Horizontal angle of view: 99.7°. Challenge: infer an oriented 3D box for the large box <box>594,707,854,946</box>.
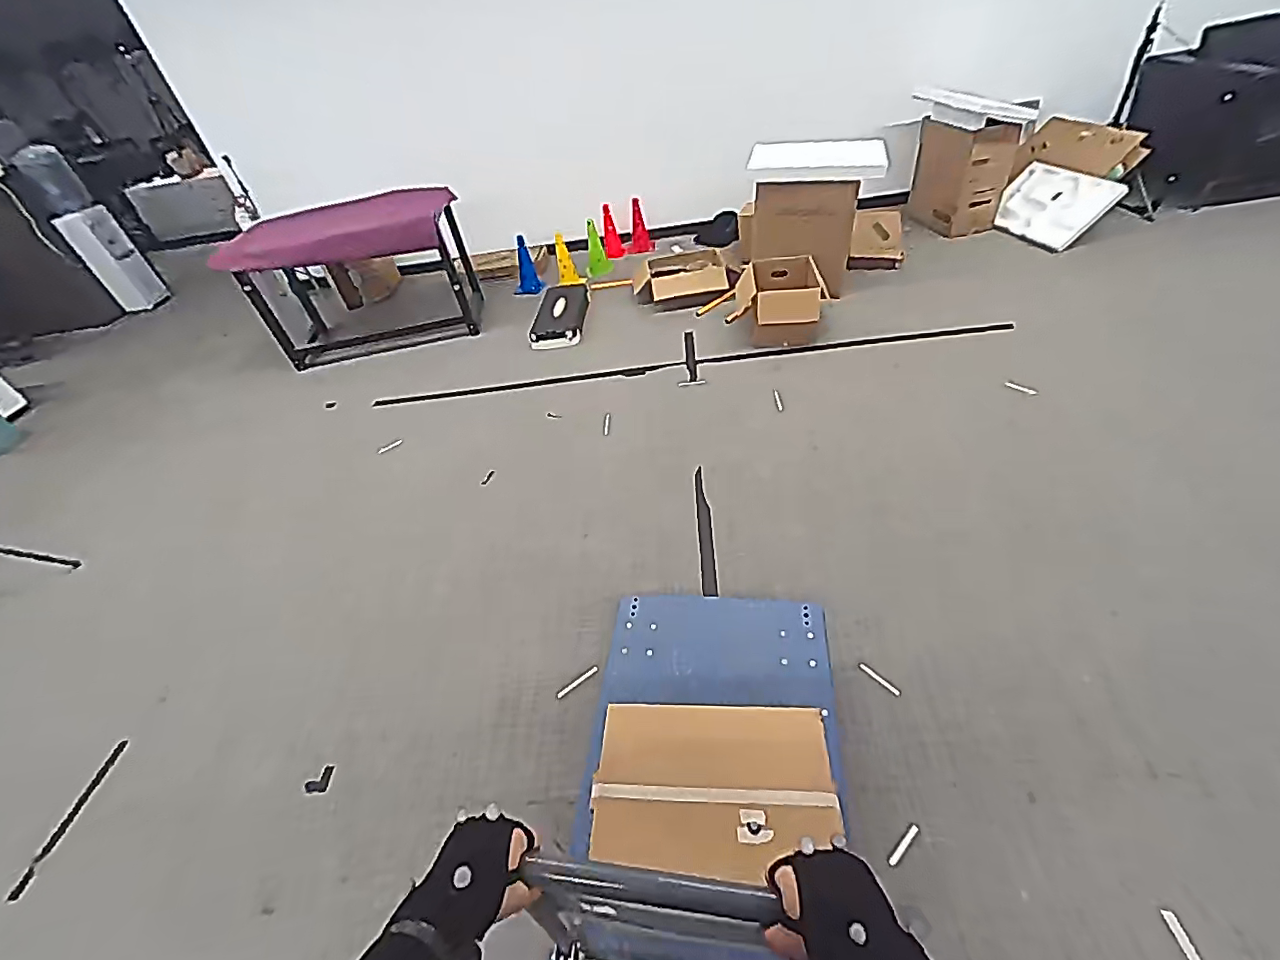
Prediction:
[{"bbox_3d":[0.148,0.652,1.028,0.408,0.320,0.320,-2,43,8],"label":"large box"}]
